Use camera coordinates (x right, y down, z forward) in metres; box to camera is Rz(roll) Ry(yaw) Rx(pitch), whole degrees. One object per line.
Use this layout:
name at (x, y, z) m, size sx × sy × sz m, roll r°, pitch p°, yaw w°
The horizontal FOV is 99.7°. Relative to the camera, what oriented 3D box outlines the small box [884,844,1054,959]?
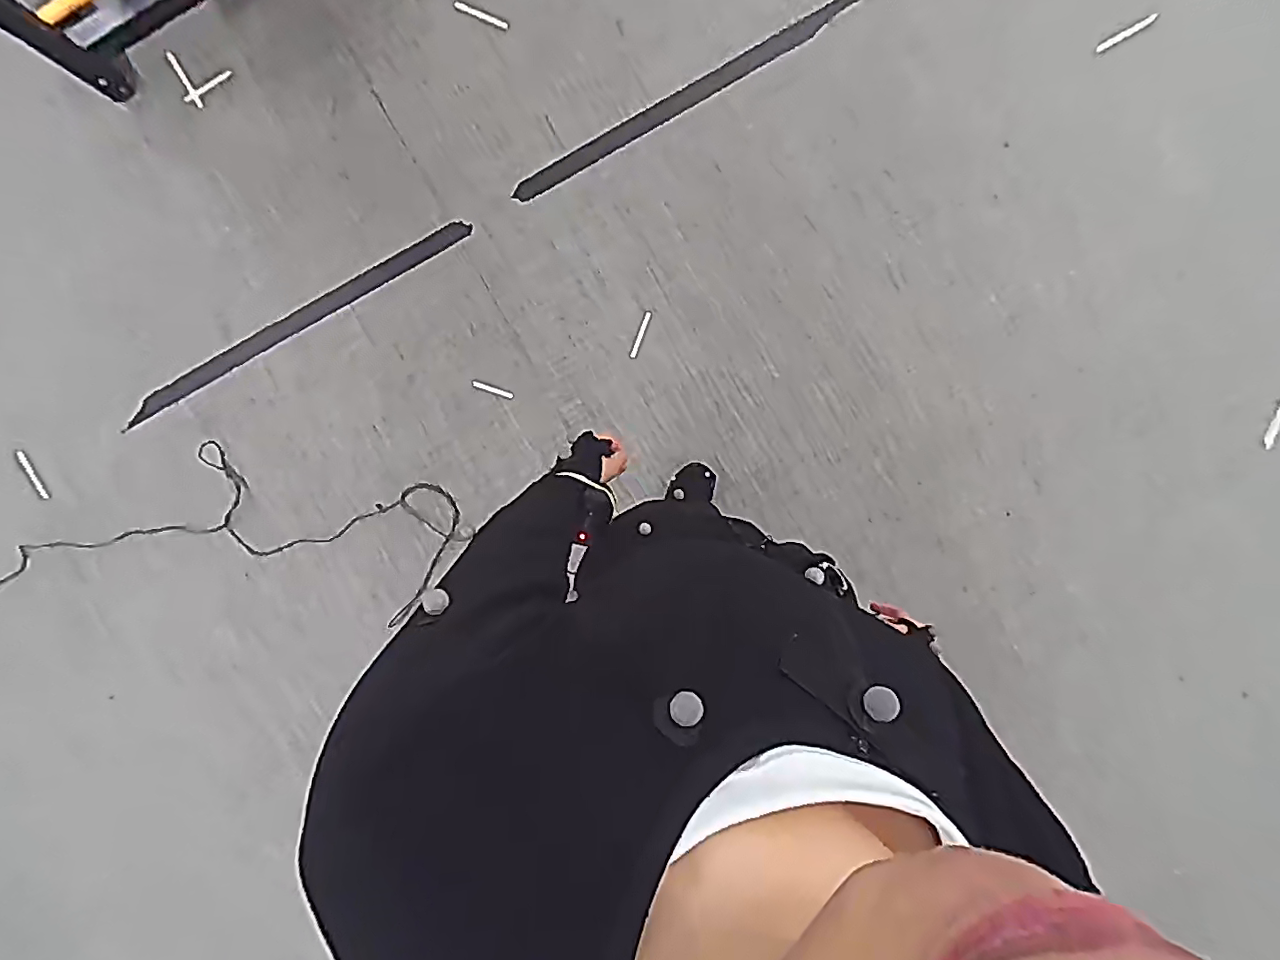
small box at (0.506, 0.718, 0.830) m, size 0.179 × 0.176 × 0.168 m, roll -30°, pitch 91°, yaw 0°
